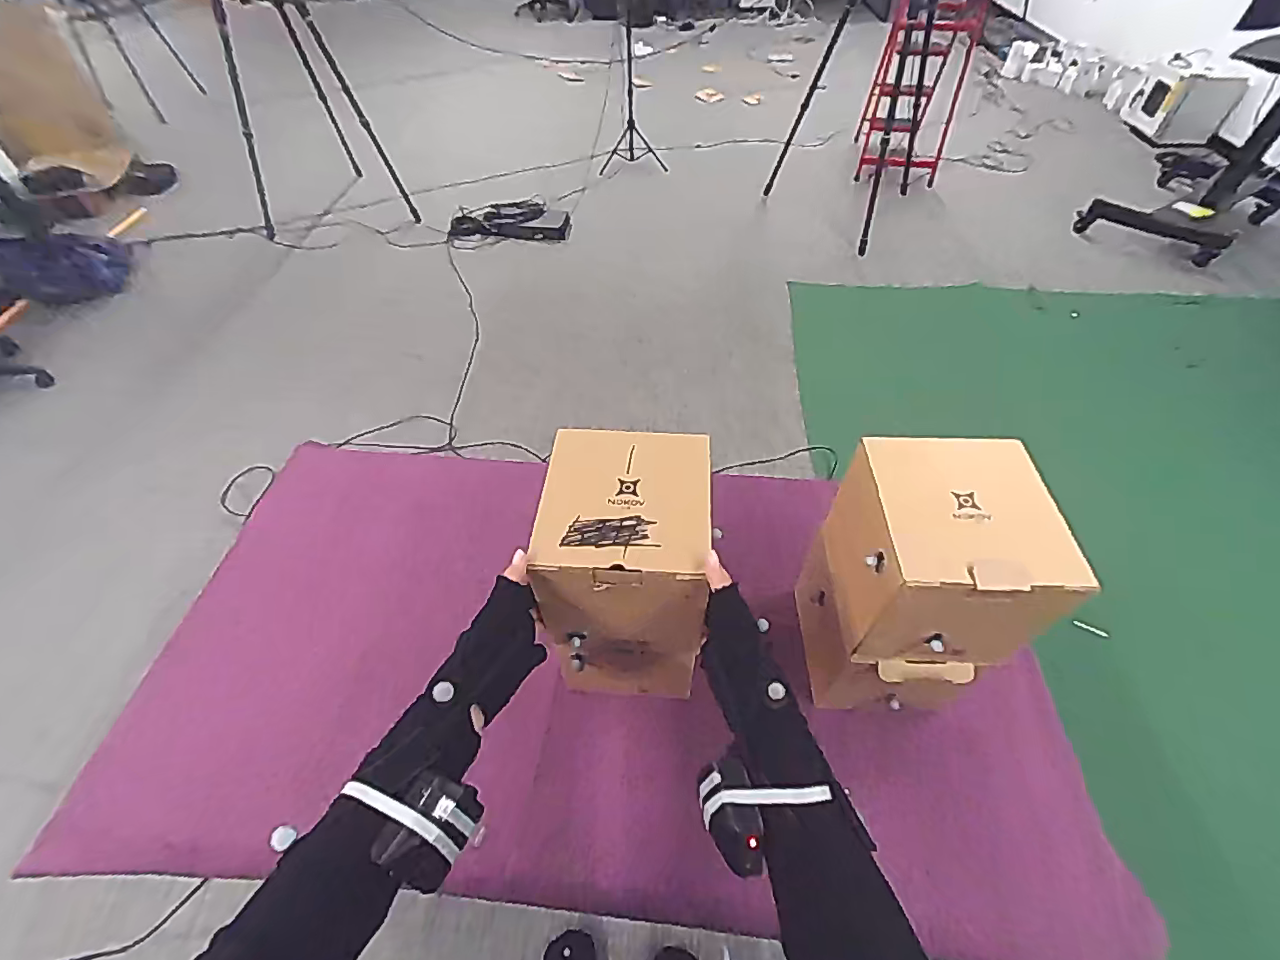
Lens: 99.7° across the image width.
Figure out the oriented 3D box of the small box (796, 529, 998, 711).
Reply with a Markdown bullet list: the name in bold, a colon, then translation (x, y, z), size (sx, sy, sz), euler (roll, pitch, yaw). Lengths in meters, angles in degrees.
- **small box**: translation (0.310, 0.182, 0.700), size (0.168, 0.176, 0.179), euler (0, 51, 2)

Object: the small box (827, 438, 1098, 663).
- **small box**: translation (0.312, 0.076, 0.575), size (0.168, 0.176, 0.179), euler (1, 52, 2)

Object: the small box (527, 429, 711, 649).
- **small box**: translation (-0.011, 0.067, 0.583), size (0.168, 0.176, 0.179), euler (3, 49, 3)
